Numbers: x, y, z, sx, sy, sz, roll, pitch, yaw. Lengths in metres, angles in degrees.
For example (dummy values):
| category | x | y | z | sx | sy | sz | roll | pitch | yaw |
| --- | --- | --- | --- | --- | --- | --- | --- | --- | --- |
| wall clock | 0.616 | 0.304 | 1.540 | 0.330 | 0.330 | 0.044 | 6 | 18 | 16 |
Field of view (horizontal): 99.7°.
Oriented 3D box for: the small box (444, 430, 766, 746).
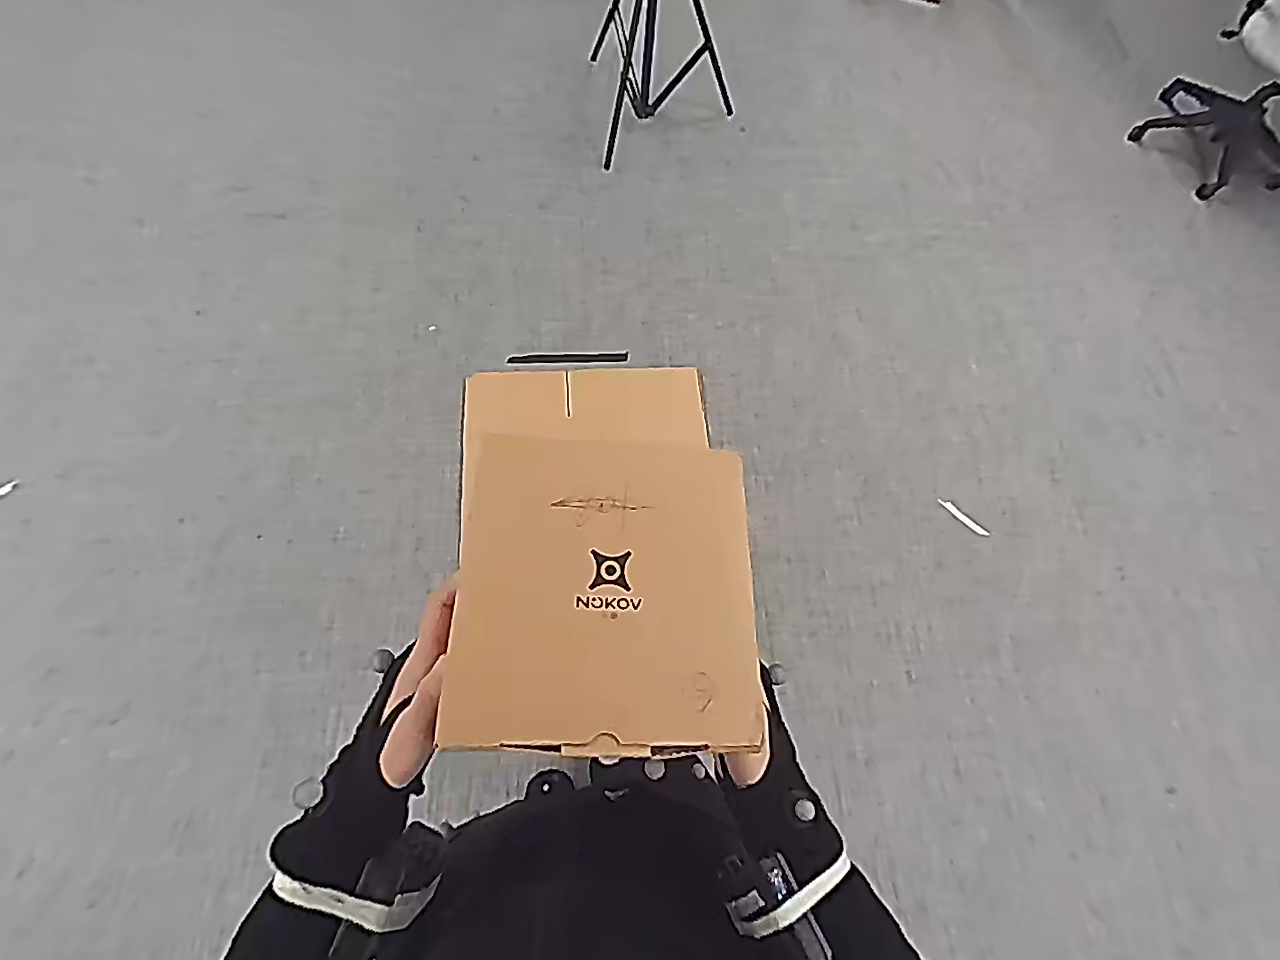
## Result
| category | x | y | z | sx | sy | sz | roll | pitch | yaw |
| --- | --- | --- | --- | --- | --- | --- | --- | --- | --- |
| small box | -0.025 | 0.087 | 0.377 | 0.168 | 0.176 | 0.179 | 4 | 63 | -8 |
